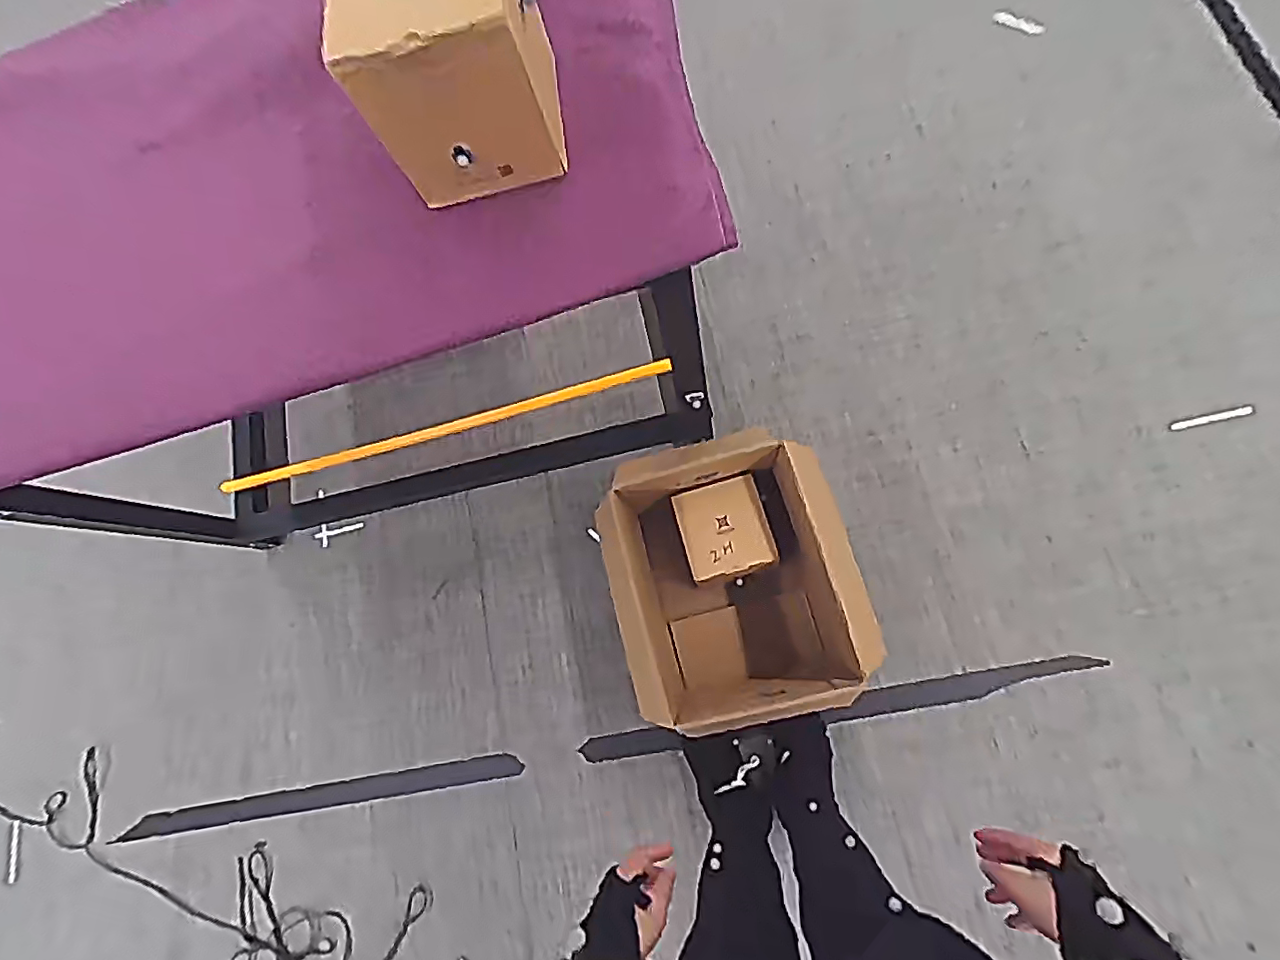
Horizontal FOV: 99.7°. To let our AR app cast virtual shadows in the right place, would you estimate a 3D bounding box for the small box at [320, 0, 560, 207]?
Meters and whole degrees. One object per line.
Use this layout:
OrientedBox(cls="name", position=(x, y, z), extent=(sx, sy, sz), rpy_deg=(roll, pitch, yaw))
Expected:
OrientedBox(cls="small box", position=(-0.190, -0.421, 0.551), extent=(0.168, 0.176, 0.179), rpy_deg=(-11, 75, 8))
